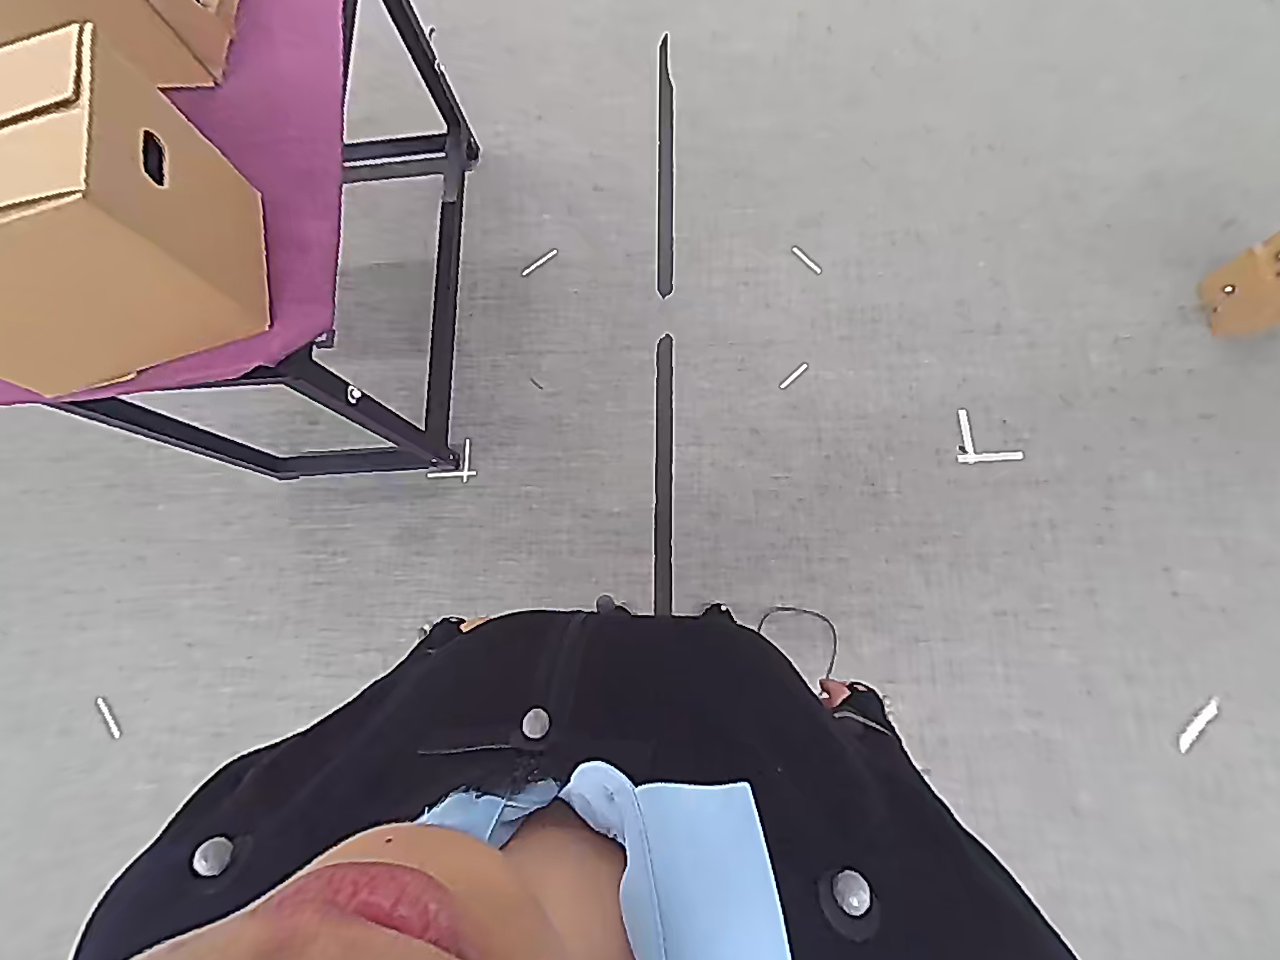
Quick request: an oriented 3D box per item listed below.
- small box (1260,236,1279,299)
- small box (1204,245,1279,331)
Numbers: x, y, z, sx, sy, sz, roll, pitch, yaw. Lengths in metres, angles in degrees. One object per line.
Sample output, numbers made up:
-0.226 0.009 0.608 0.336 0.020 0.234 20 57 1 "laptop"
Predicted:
1.698 -0.556 1.311 0.179 0.176 0.168 -1 76 6 "small box"
1.704 -0.521 1.470 0.179 0.176 0.168 -3 77 4 "small box"
